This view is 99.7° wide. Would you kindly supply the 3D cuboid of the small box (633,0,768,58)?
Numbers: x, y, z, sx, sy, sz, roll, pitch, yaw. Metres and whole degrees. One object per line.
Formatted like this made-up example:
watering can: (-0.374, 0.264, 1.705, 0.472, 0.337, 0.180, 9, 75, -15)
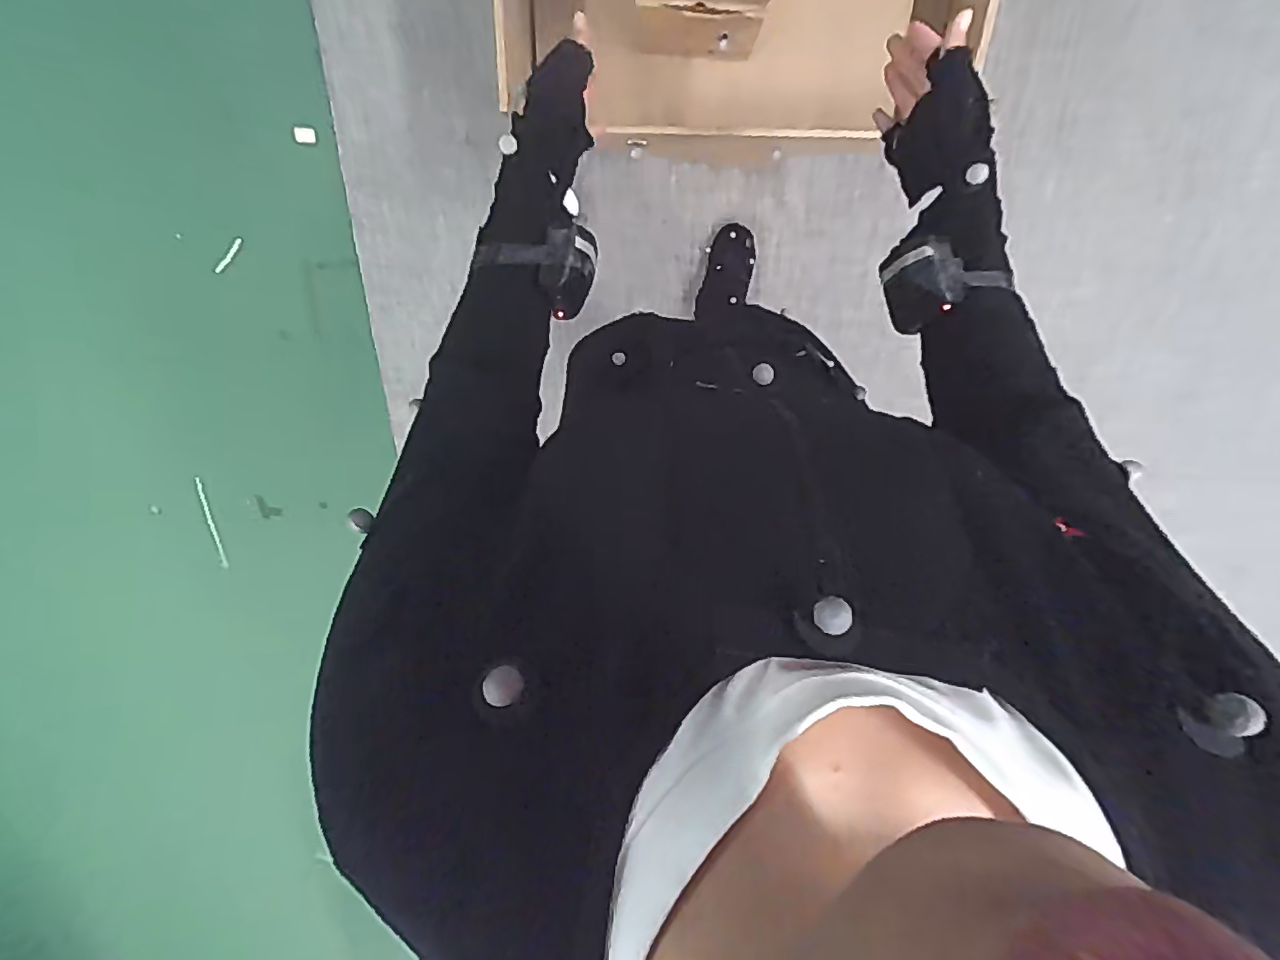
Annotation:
small box: (0.083, -0.678, 0.696, 0.168, 0.176, 0.179, 5, 111, 0)
